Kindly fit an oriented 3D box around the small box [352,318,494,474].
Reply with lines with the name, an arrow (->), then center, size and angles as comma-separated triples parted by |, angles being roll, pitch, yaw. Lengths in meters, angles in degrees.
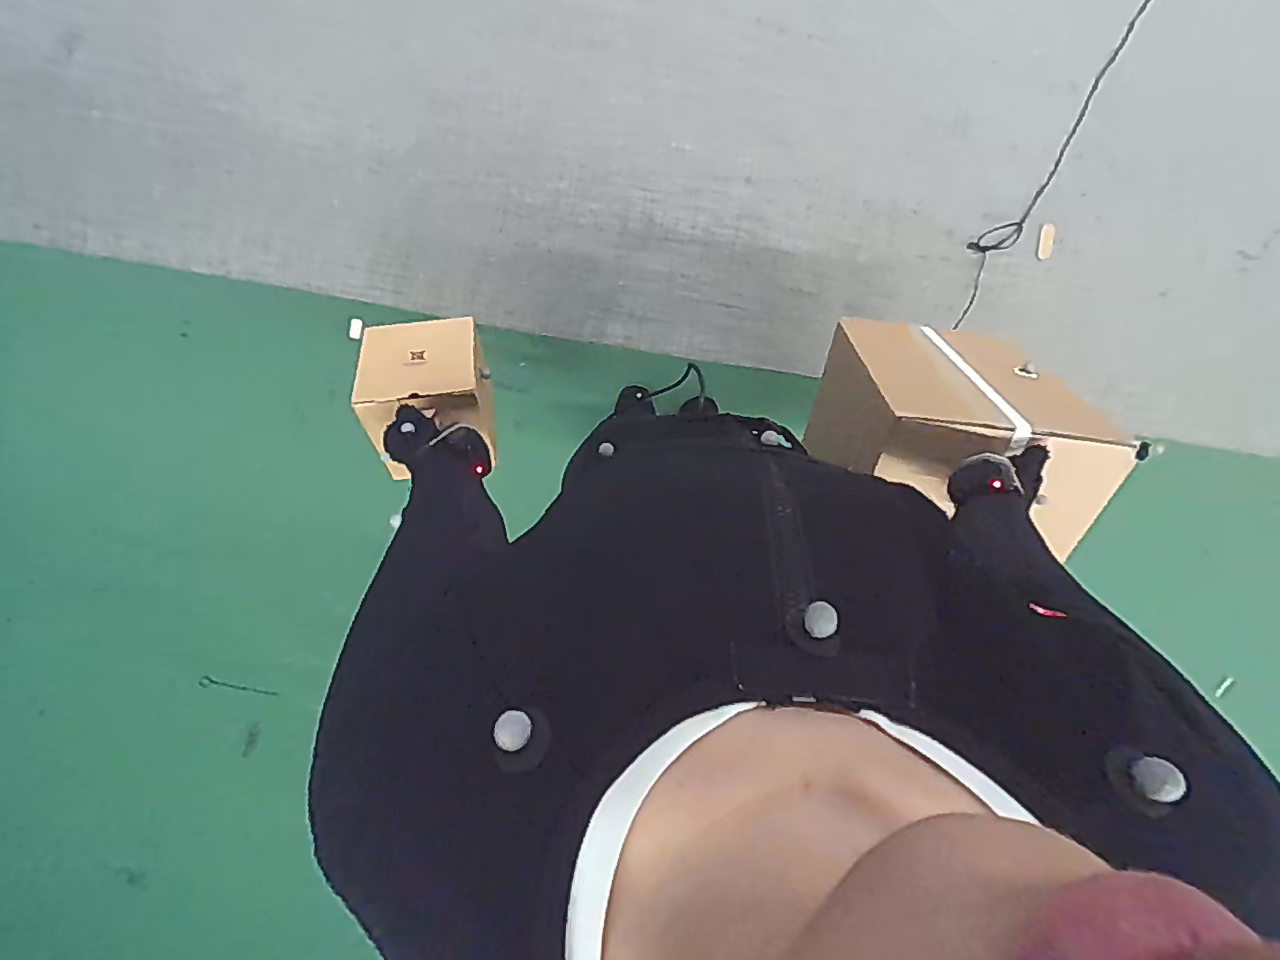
small box -> -0.332, -0.133, 0.863 | 0.168, 0.179, 0.176 | -8, 143, -8
